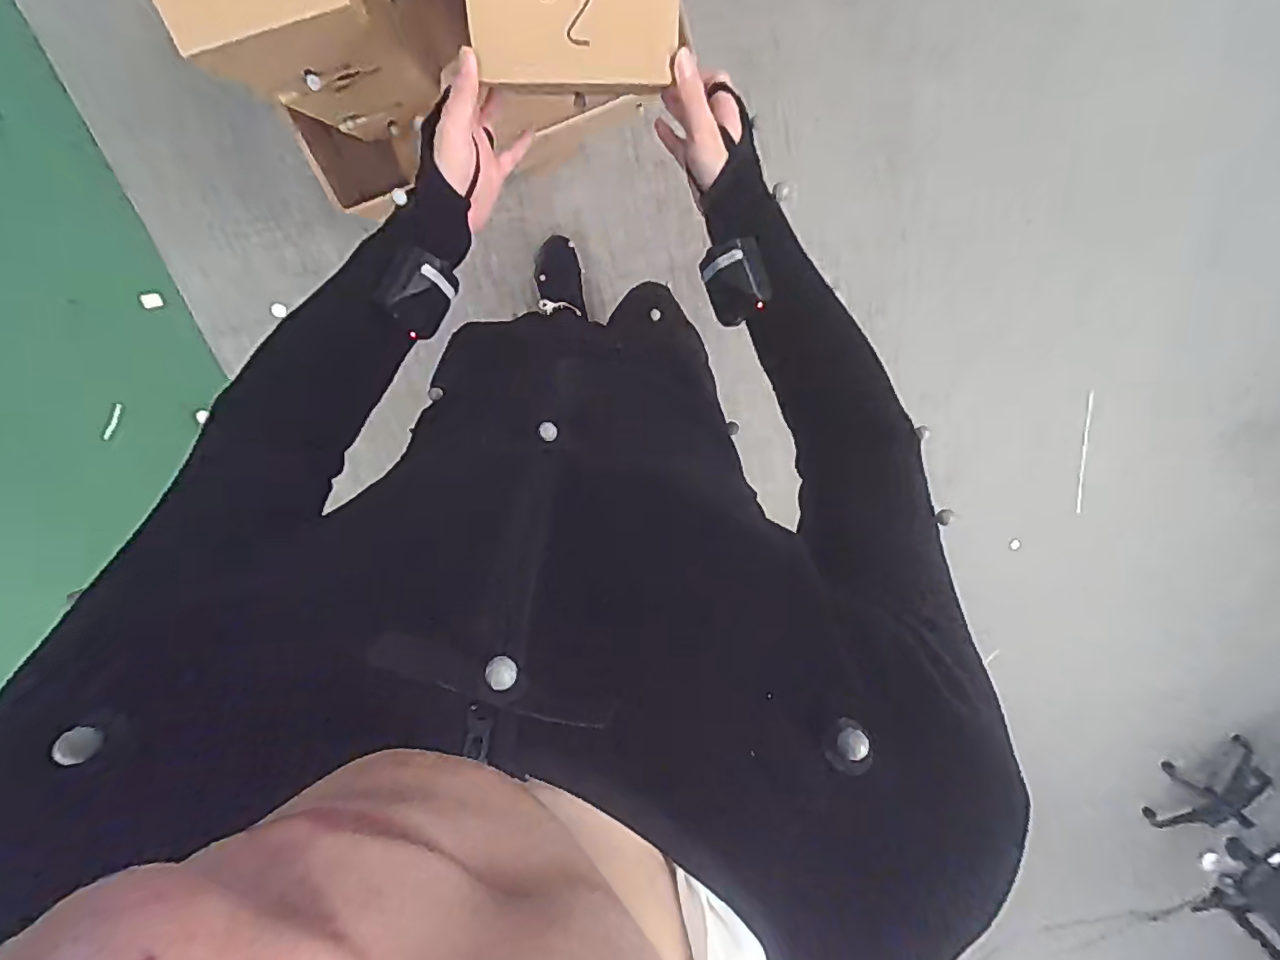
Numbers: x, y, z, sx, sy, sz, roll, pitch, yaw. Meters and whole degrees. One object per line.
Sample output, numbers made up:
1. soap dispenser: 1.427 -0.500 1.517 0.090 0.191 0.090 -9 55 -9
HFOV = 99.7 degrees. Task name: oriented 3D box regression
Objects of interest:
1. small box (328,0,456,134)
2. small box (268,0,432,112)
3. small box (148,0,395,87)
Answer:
1. small box: -0.399 -0.644 0.810 0.168 0.176 0.179 -20 115 3
2. small box: -0.379 -0.577 0.661 0.168 0.176 0.179 -17 114 0
3. small box: -0.364 -0.512 0.512 0.168 0.176 0.179 -15 116 0
